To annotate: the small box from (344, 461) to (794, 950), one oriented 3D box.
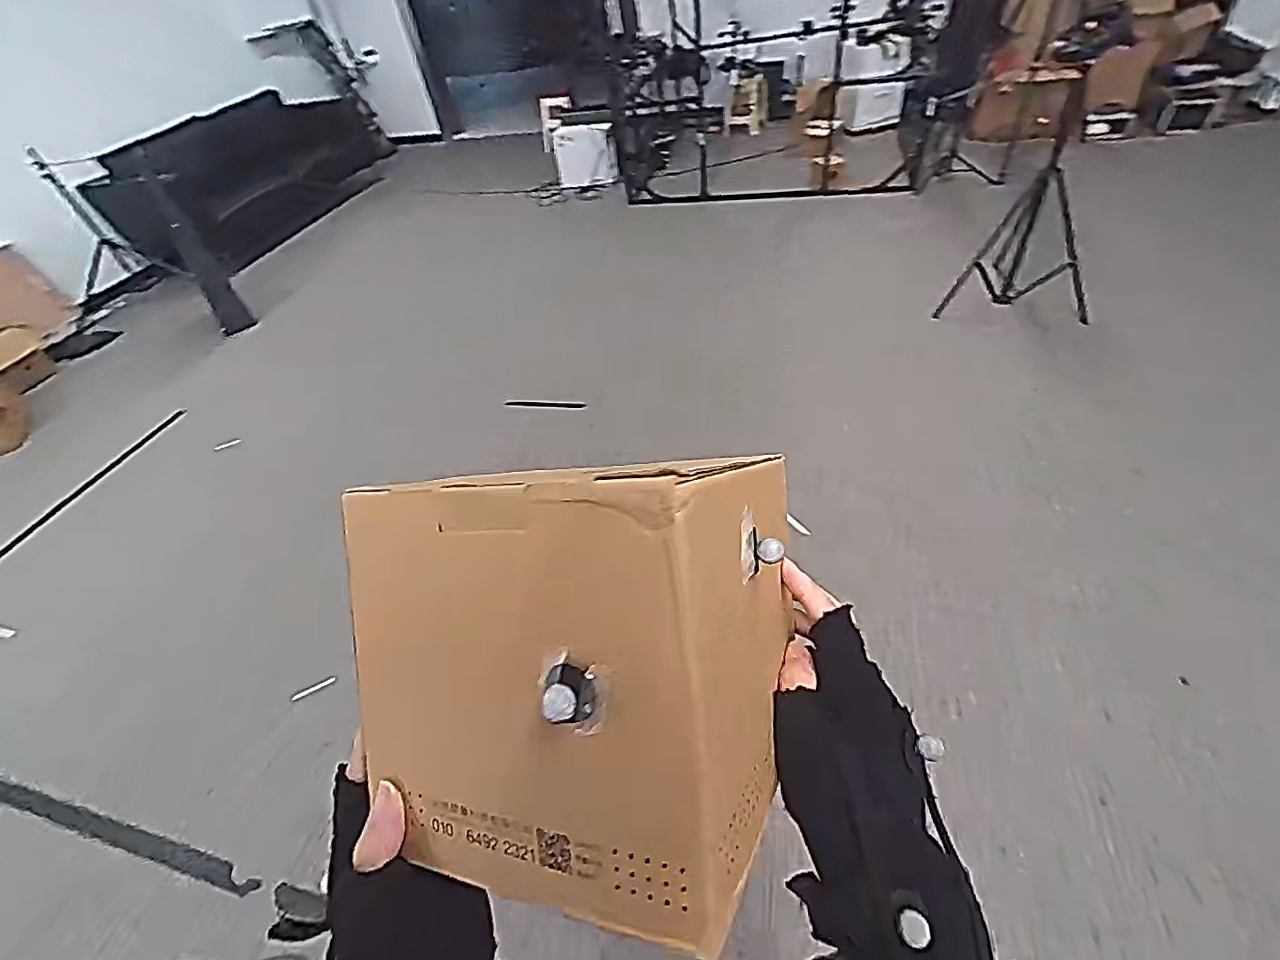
[{"bbox_3d":[-0.019,0.085,0.289,0.168,0.176,0.179,-4,3,27],"label":"small box"}]
